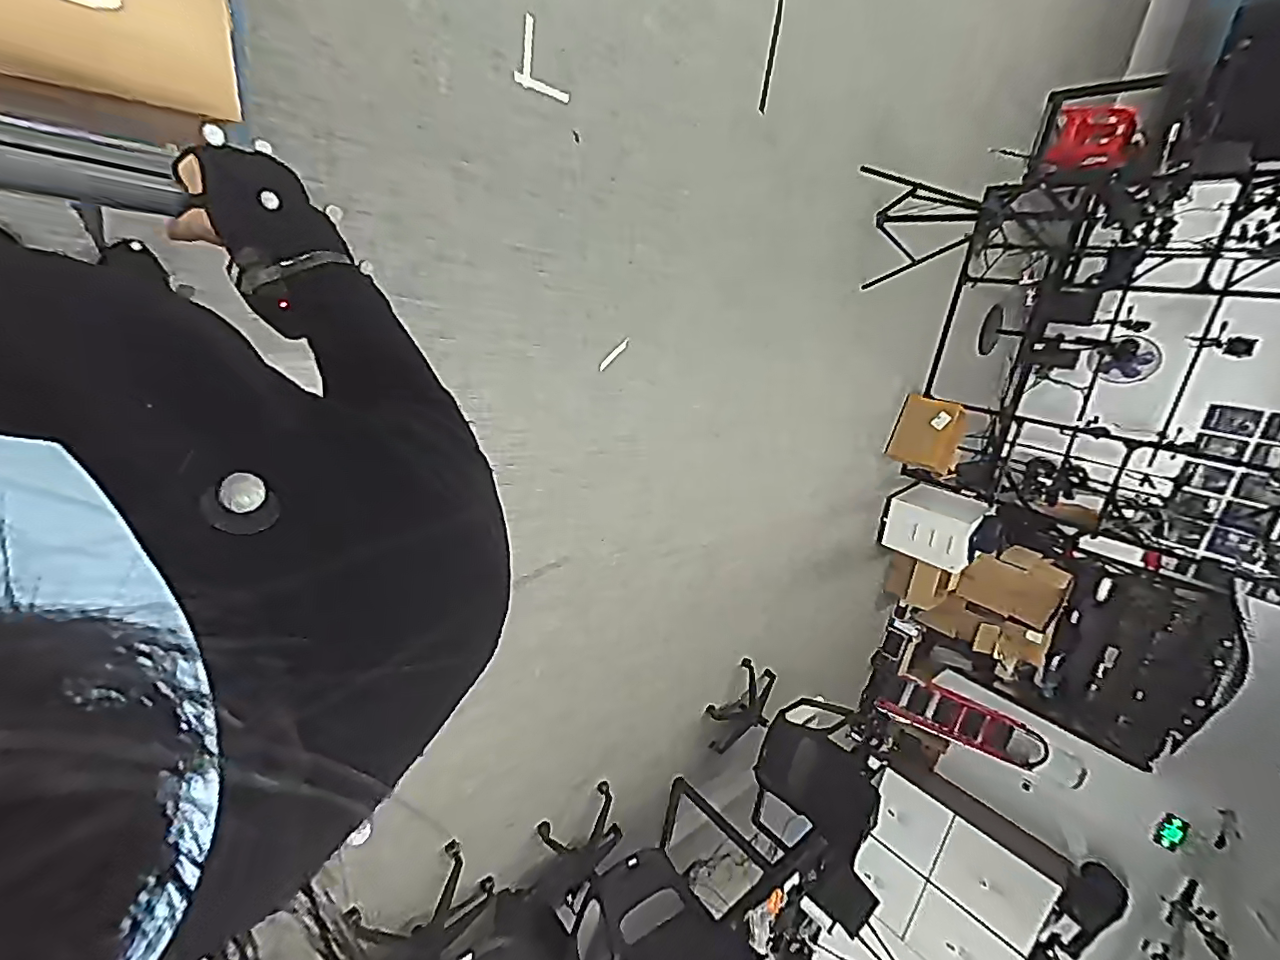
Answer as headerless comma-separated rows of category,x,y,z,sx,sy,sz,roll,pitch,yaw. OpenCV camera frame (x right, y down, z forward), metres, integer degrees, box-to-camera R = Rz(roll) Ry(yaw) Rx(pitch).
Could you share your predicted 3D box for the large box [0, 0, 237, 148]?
large box,-0.800,-0.643,0.673,0.408,0.320,0.320,-14,118,-42
